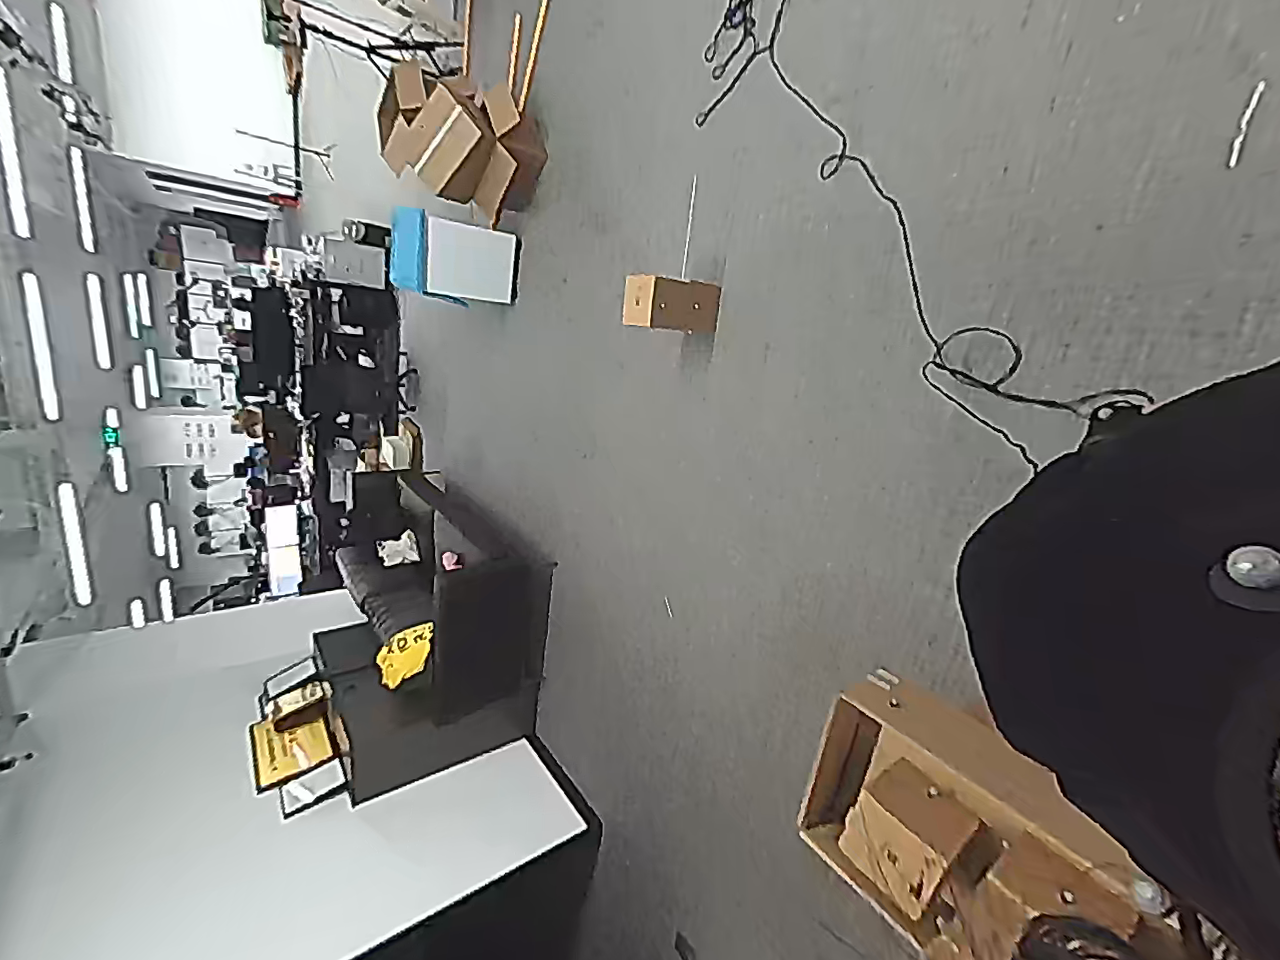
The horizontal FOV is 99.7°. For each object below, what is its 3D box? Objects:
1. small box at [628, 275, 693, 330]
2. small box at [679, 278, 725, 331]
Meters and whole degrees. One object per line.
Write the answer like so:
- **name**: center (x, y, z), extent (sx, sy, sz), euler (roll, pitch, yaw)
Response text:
- **small box**: center (0.077, -0.652, 1.984), extent (0.168, 0.176, 0.179), euler (24, 113, 48)
- **small box**: center (0.209, -0.674, 2.081), extent (0.168, 0.176, 0.179), euler (24, 113, 49)
